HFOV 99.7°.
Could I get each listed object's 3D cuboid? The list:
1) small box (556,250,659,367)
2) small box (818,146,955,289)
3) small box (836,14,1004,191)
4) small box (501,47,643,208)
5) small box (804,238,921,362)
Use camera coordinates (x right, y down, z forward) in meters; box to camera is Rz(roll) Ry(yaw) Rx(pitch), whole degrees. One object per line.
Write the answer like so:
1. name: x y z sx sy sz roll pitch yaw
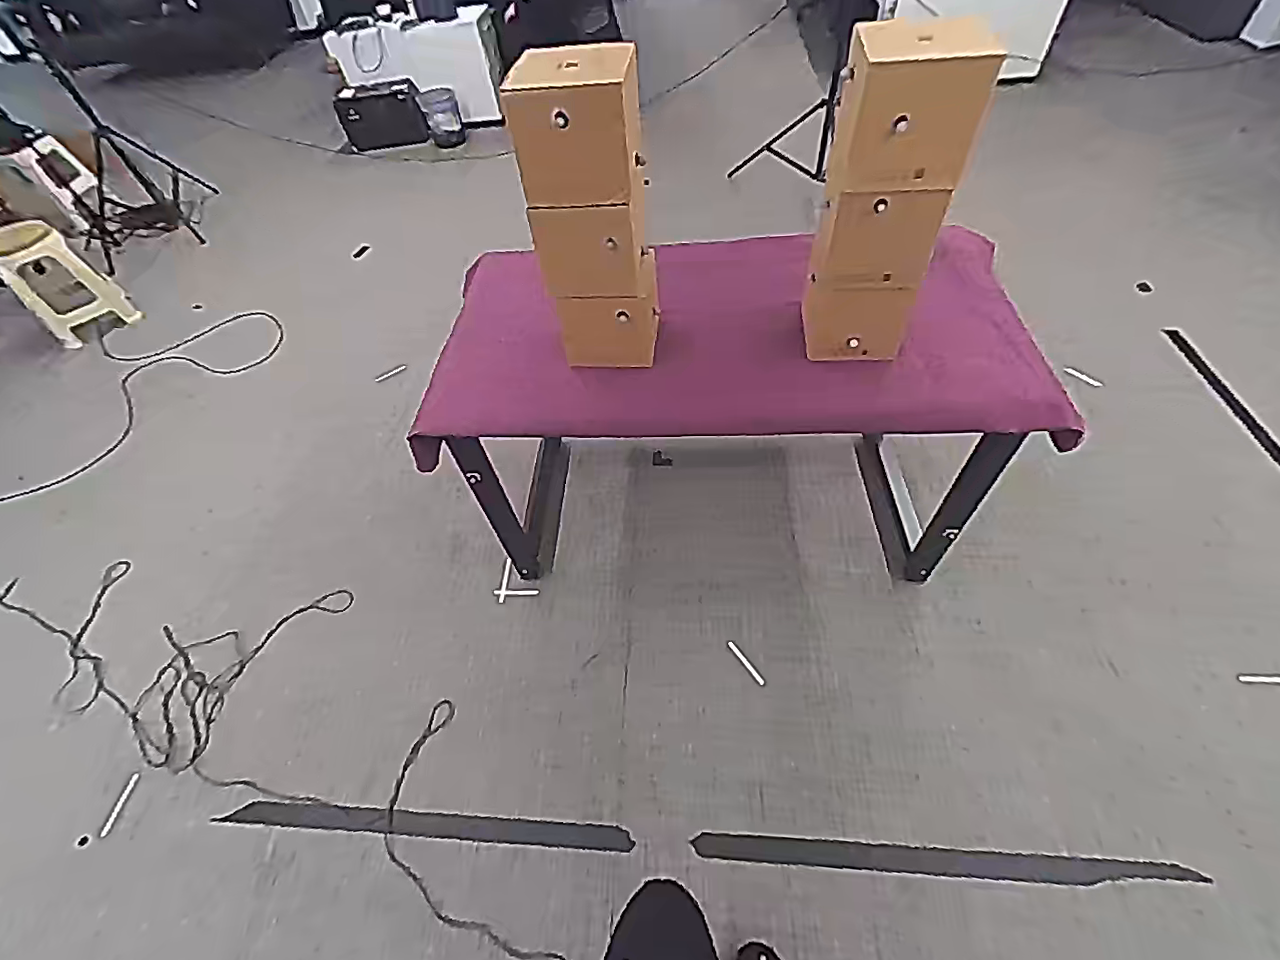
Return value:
1. small box: -0.055 -0.346 1.103 0.179 0.176 0.168 2 52 8
2. small box: 0.404 -0.448 0.922 0.168 0.176 0.179 3 52 9
3. small box: 0.389 -0.542 0.789 0.168 0.176 0.179 3 53 9
4. small box: -0.094 -0.546 0.847 0.179 0.176 0.168 2 54 6
5. small box: 0.420 -0.353 1.054 0.168 0.176 0.179 1 53 8
